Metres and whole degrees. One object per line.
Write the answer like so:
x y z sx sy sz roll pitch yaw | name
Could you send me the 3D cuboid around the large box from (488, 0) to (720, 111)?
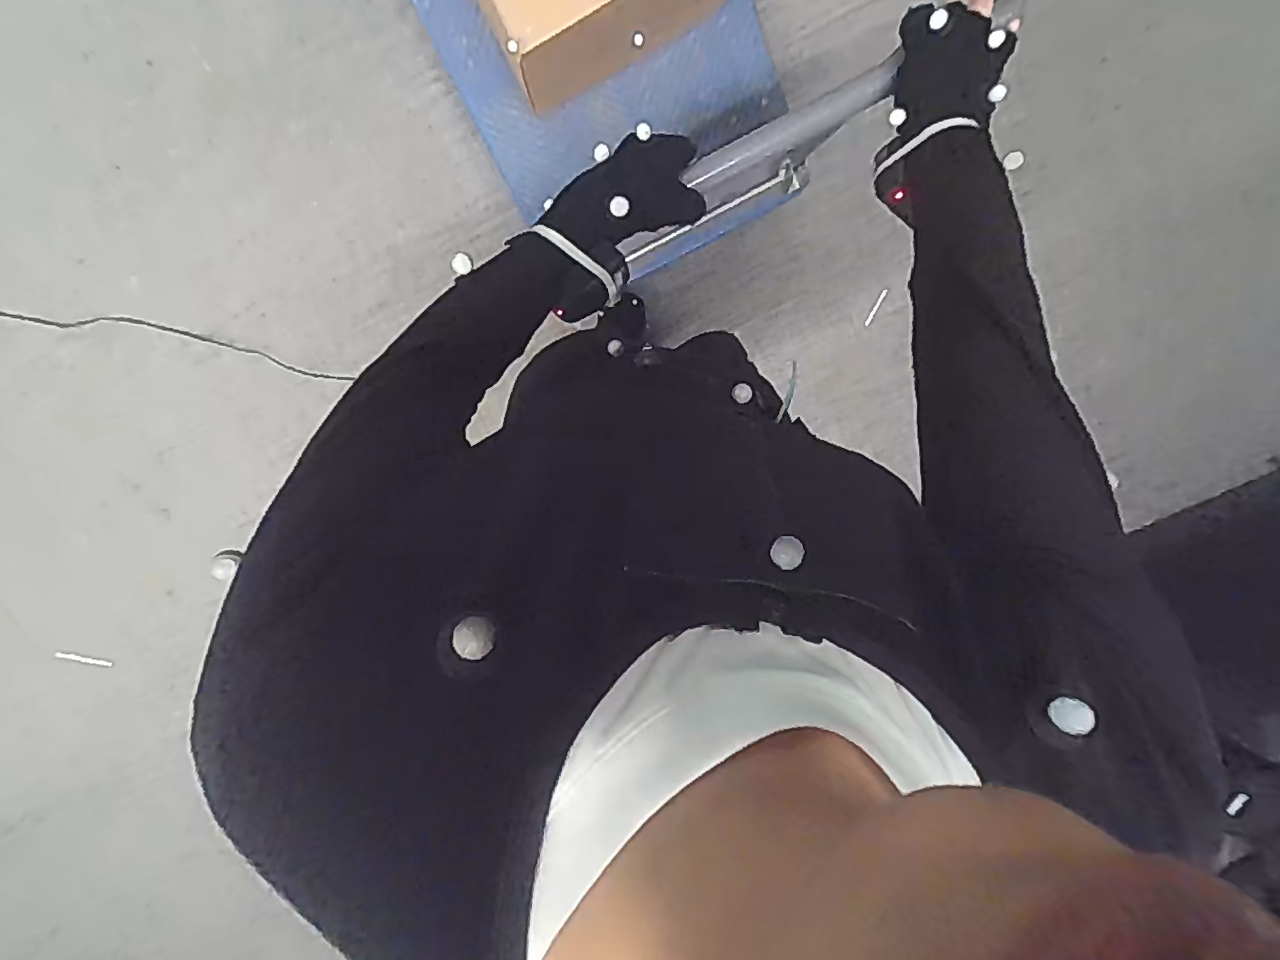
-0.071 -0.884 0.854 0.408 0.320 0.320 -28 109 6 | large box
